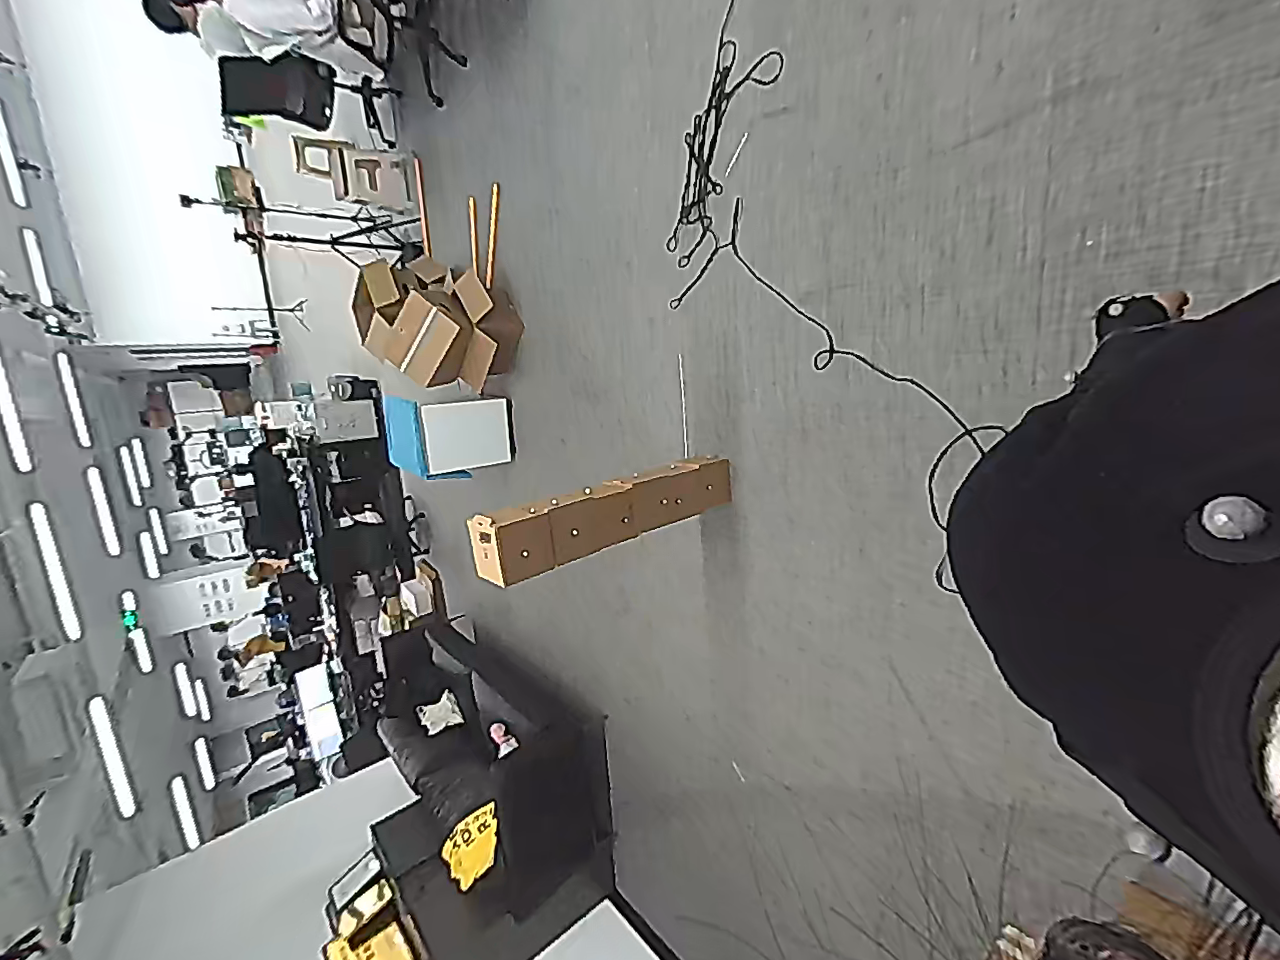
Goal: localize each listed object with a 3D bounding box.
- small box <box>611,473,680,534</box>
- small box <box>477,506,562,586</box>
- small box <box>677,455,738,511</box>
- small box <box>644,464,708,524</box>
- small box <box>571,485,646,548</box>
[{"bbox_3d":[0.020,0.075,1.870,0.168,0.176,0.179,5,104,51],"label":"small box"},{"bbox_3d":[-0.344,0.181,1.557,0.168,0.176,0.179,8,109,49],"label":"small box"},{"bbox_3d":[0.262,0.007,2.079,0.168,0.176,0.179,8,106,50],"label":"small box"},{"bbox_3d":[0.136,0.048,1.982,0.168,0.176,0.179,8,107,49],"label":"small box"},{"bbox_3d":[-0.103,0.112,1.769,0.179,0.176,0.168,4,105,49],"label":"small box"}]
